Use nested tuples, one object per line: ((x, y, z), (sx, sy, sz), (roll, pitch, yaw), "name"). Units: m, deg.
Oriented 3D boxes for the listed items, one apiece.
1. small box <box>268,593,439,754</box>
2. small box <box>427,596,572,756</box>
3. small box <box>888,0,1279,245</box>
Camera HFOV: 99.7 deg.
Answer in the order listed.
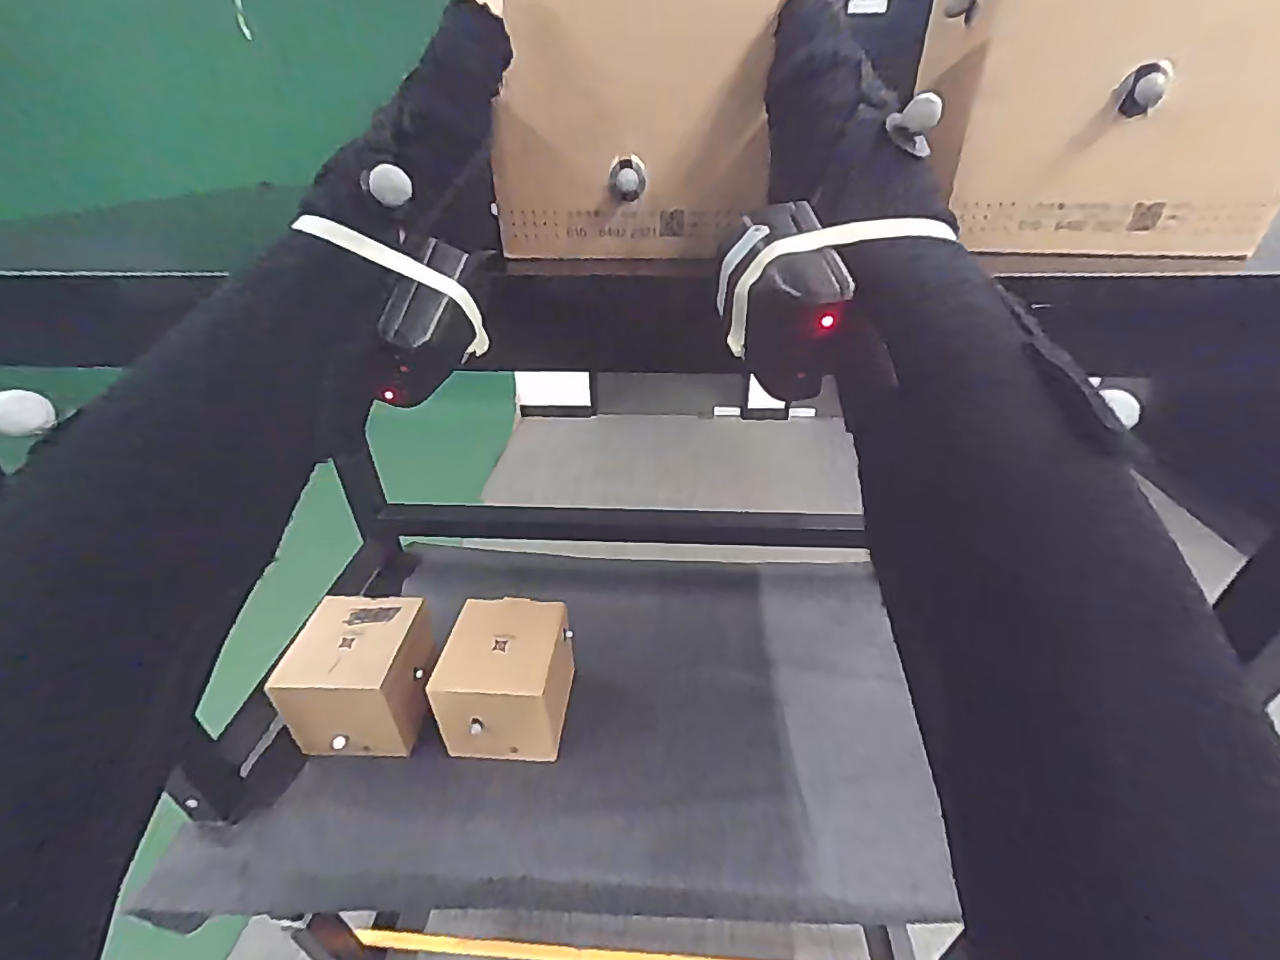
((-0.432, 0.301, 0.855), (0.168, 0.176, 0.179), (0, 33, 2), "small box")
((-0.205, 0.305, 0.847), (0.168, 0.176, 0.179), (1, 32, 3), "small box")
((0.273, -0.253, 0.345), (0.168, 0.176, 0.179), (6, 33, 11), "small box")
